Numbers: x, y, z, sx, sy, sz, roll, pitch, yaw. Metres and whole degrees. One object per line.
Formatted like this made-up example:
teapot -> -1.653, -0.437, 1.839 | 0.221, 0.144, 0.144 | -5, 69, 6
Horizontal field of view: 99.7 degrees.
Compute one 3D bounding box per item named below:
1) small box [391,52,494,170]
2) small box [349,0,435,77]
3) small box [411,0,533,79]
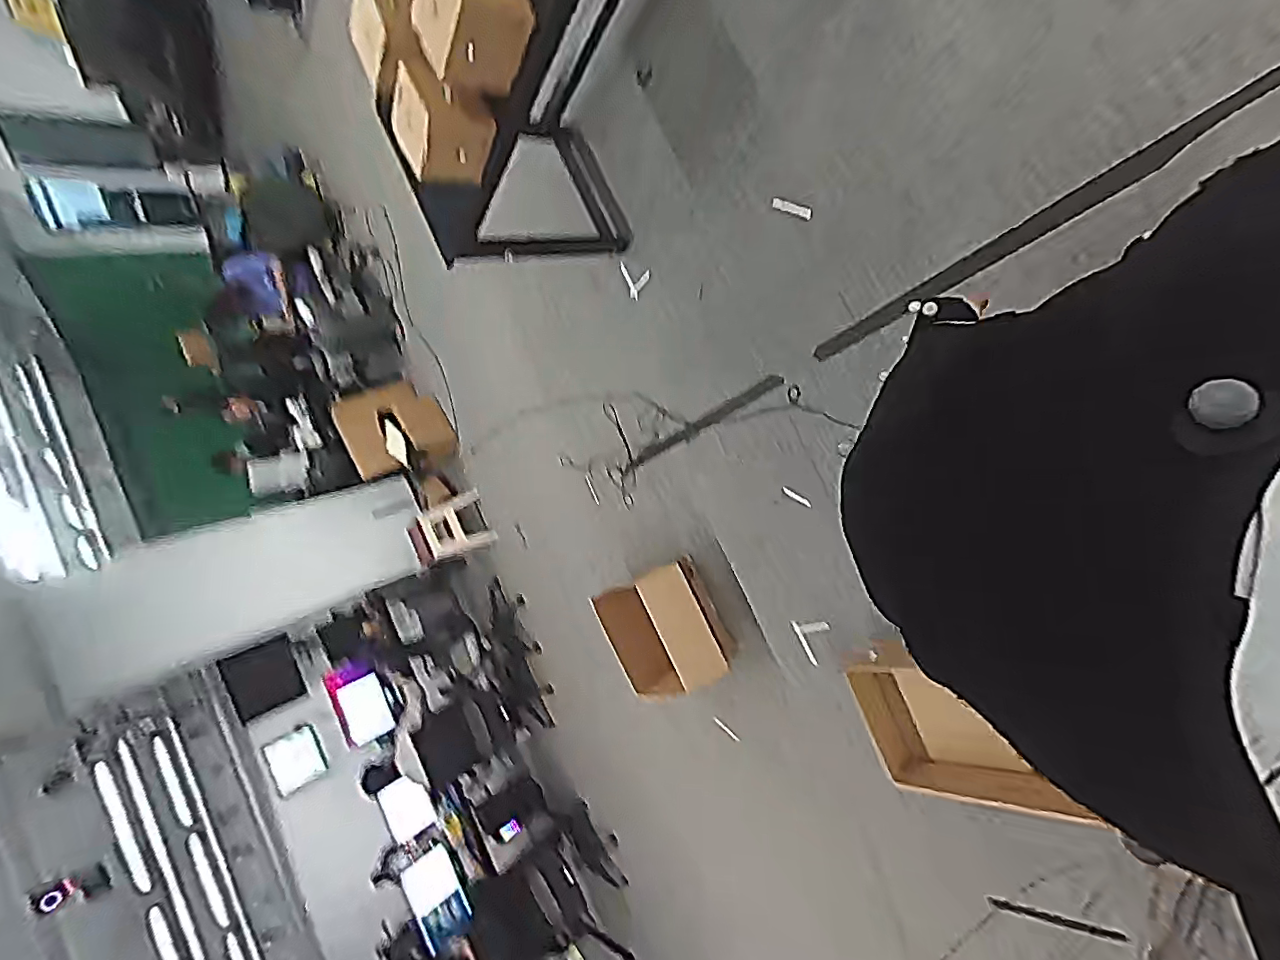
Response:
small box -> -0.479, -0.888, 1.317 | 0.168, 0.176, 0.179 | -40, 76, 51
small box -> -0.595, -1.131, 1.346 | 0.168, 0.176, 0.179 | -28, 85, 52
small box -> -0.345, -0.978, 1.116 | 0.179, 0.176, 0.168 | -32, 82, 51
